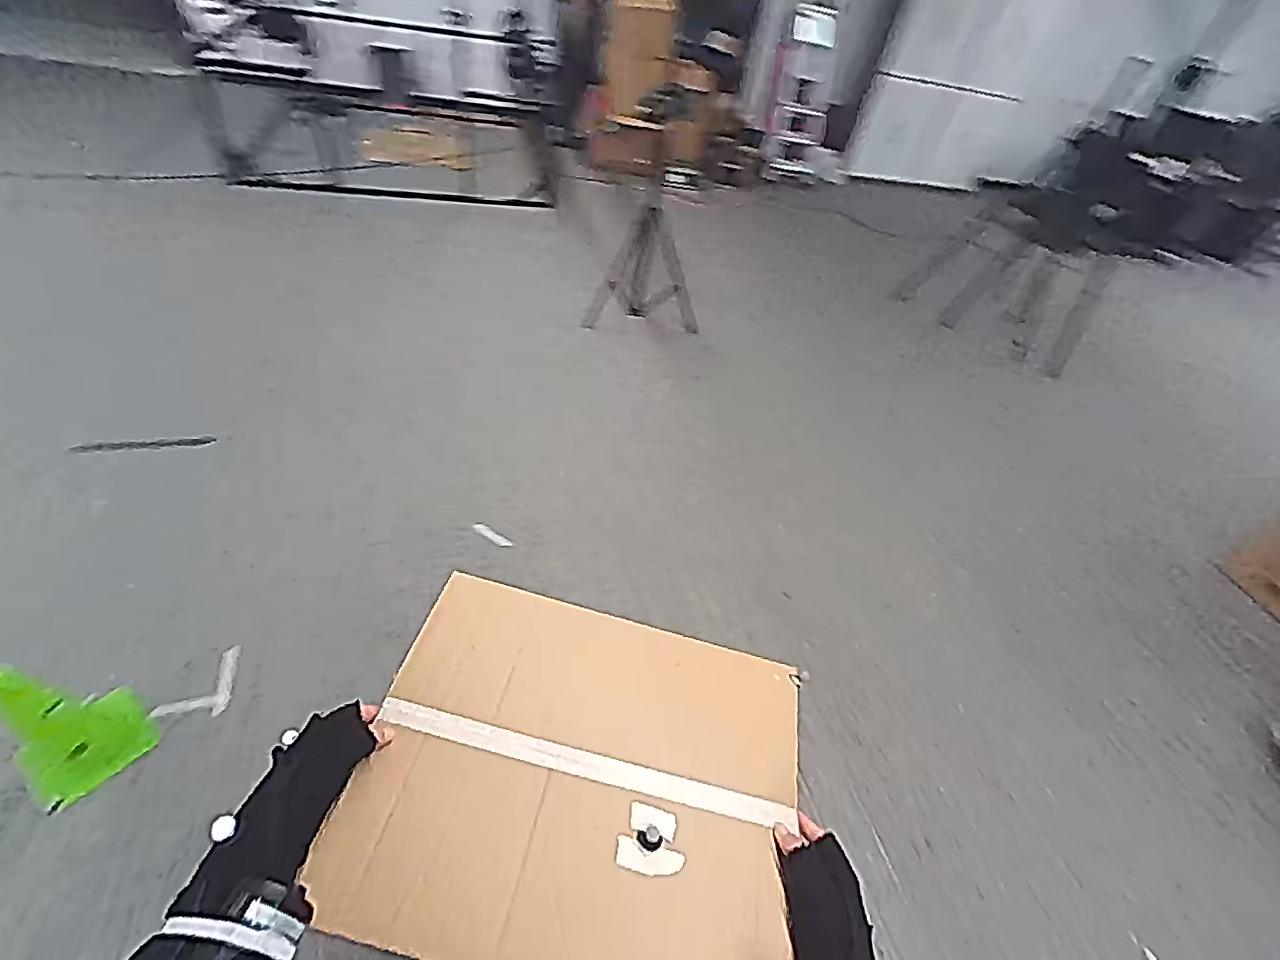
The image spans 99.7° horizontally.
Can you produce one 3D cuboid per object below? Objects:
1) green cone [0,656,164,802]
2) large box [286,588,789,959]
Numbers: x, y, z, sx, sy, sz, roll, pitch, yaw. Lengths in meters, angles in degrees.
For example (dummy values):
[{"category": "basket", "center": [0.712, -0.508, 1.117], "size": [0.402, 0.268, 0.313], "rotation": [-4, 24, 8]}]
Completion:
[{"category": "green cone", "center": [-1.221, 0.476, 1.131], "size": [0.202, 0.368, 0.200], "rotation": [33, 47, 22]}, {"category": "large box", "center": [-0.082, 0.375, 0.617], "size": [0.408, 0.320, 0.320], "rotation": [15, 46, -1]}]
